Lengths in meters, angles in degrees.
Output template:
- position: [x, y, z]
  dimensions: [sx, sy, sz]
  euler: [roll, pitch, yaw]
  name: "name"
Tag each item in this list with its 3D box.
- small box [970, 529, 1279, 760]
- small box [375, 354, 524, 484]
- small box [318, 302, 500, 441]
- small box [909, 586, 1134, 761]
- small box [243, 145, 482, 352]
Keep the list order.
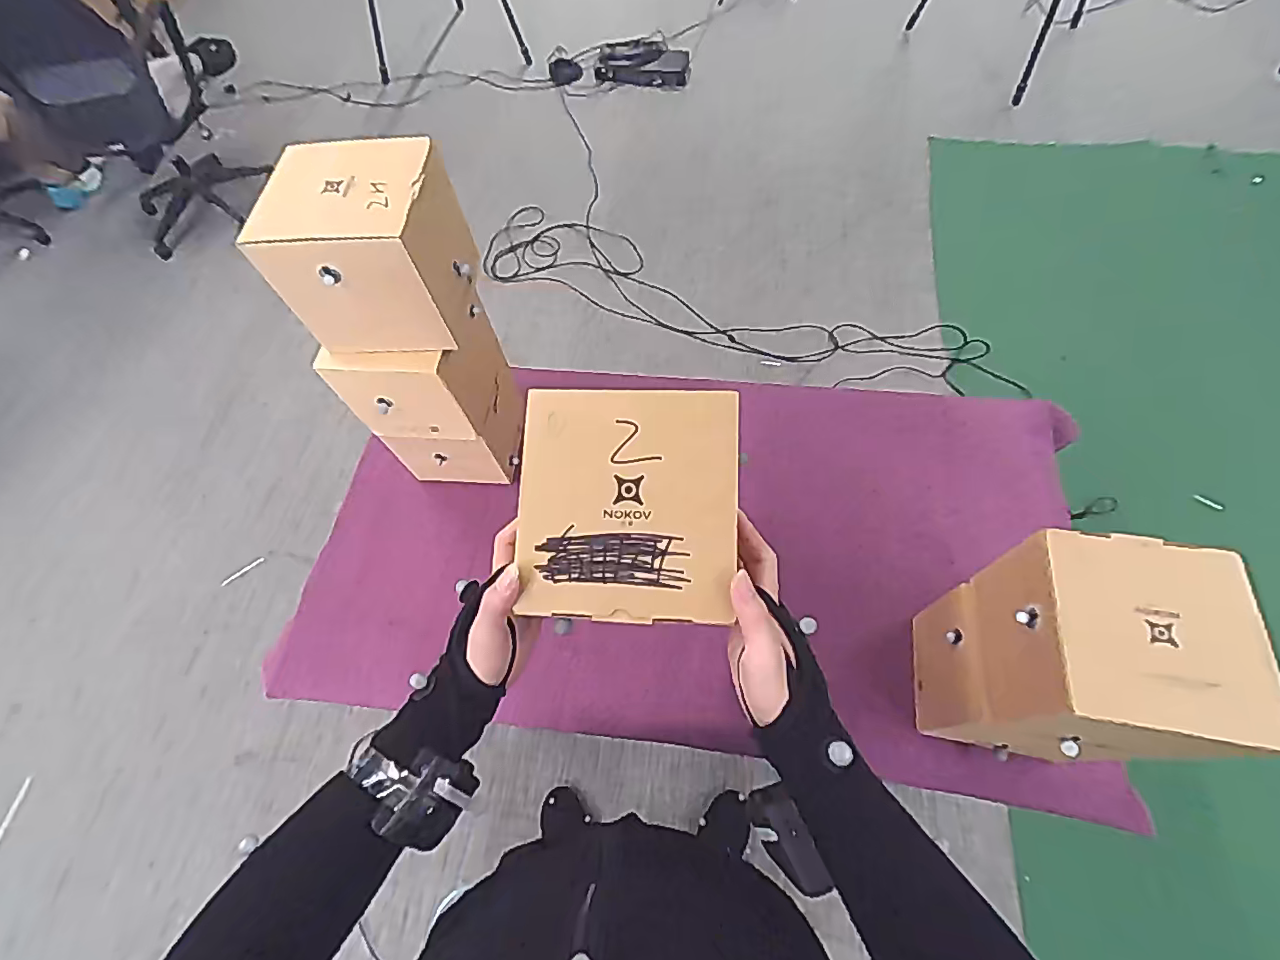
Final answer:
- position: [0.462, 0.172, 0.553]
  dimensions: [0.168, 0.176, 0.179]
  euler: [8, 63, 10]
  name: "small box"
- position: [-0.313, -0.102, 0.932]
  dimensions: [0.179, 0.176, 0.168]
  euler: [2, 63, 5]
  name: "small box"
- position: [-0.317, -0.171, 0.786]
  dimensions: [0.168, 0.176, 0.179]
  euler: [3, 62, 5]
  name: "small box"
- position: [0.469, 0.253, 0.695]
  dimensions: [0.179, 0.176, 0.168]
  euler: [9, 62, 8]
  name: "small box"
- position: [-0.312, -0.269, 0.651]
  dimensions: [0.179, 0.176, 0.168]
  euler: [0, 63, 3]
  name: "small box"
